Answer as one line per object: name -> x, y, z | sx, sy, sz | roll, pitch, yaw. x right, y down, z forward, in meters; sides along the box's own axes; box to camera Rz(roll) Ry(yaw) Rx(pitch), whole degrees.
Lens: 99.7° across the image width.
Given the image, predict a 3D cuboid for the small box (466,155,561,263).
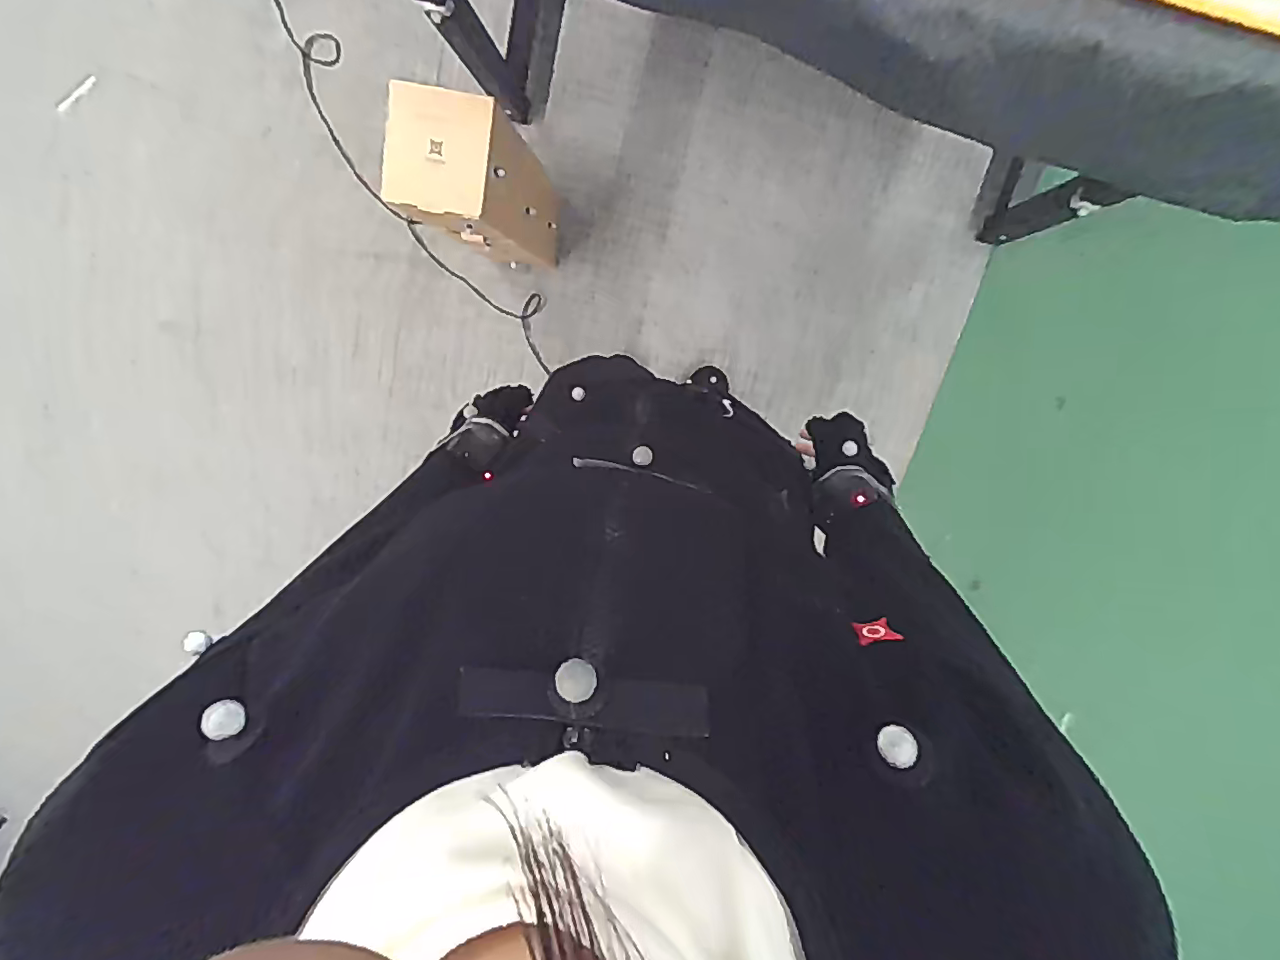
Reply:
small box -> -0.281, -0.606, 1.228 | 0.168, 0.176, 0.179 | 8, 104, 3
